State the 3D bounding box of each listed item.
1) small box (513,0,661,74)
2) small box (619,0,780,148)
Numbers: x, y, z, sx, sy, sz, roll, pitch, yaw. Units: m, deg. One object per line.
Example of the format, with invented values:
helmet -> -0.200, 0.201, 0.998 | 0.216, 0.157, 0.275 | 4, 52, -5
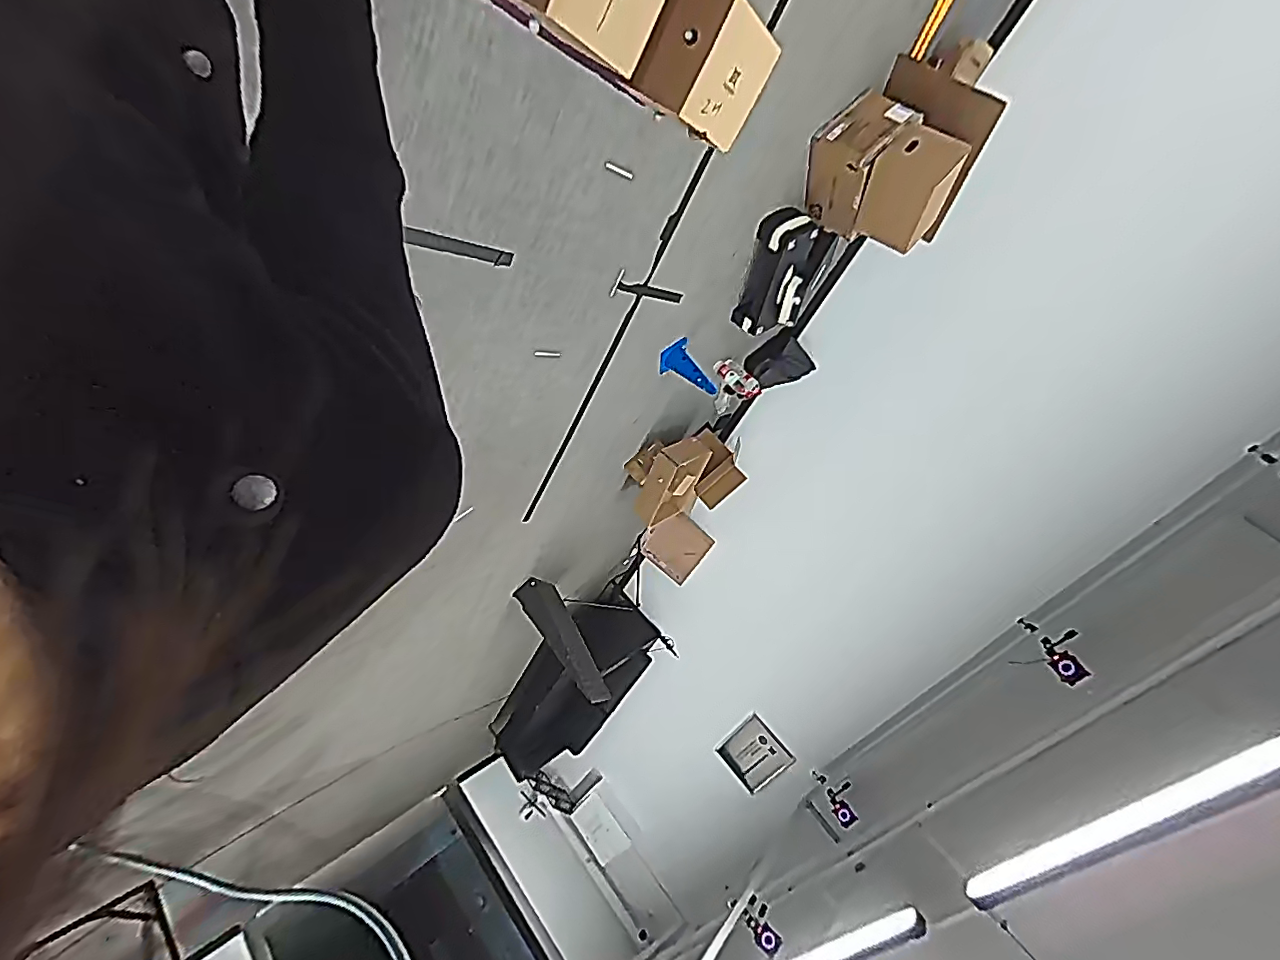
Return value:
small box -> -0.076, -0.675, 0.682 | 0.168, 0.176, 0.179 | -12, 142, -53
small box -> 0.095, -0.710, 0.908 | 0.168, 0.176, 0.179 | -10, 139, -53
